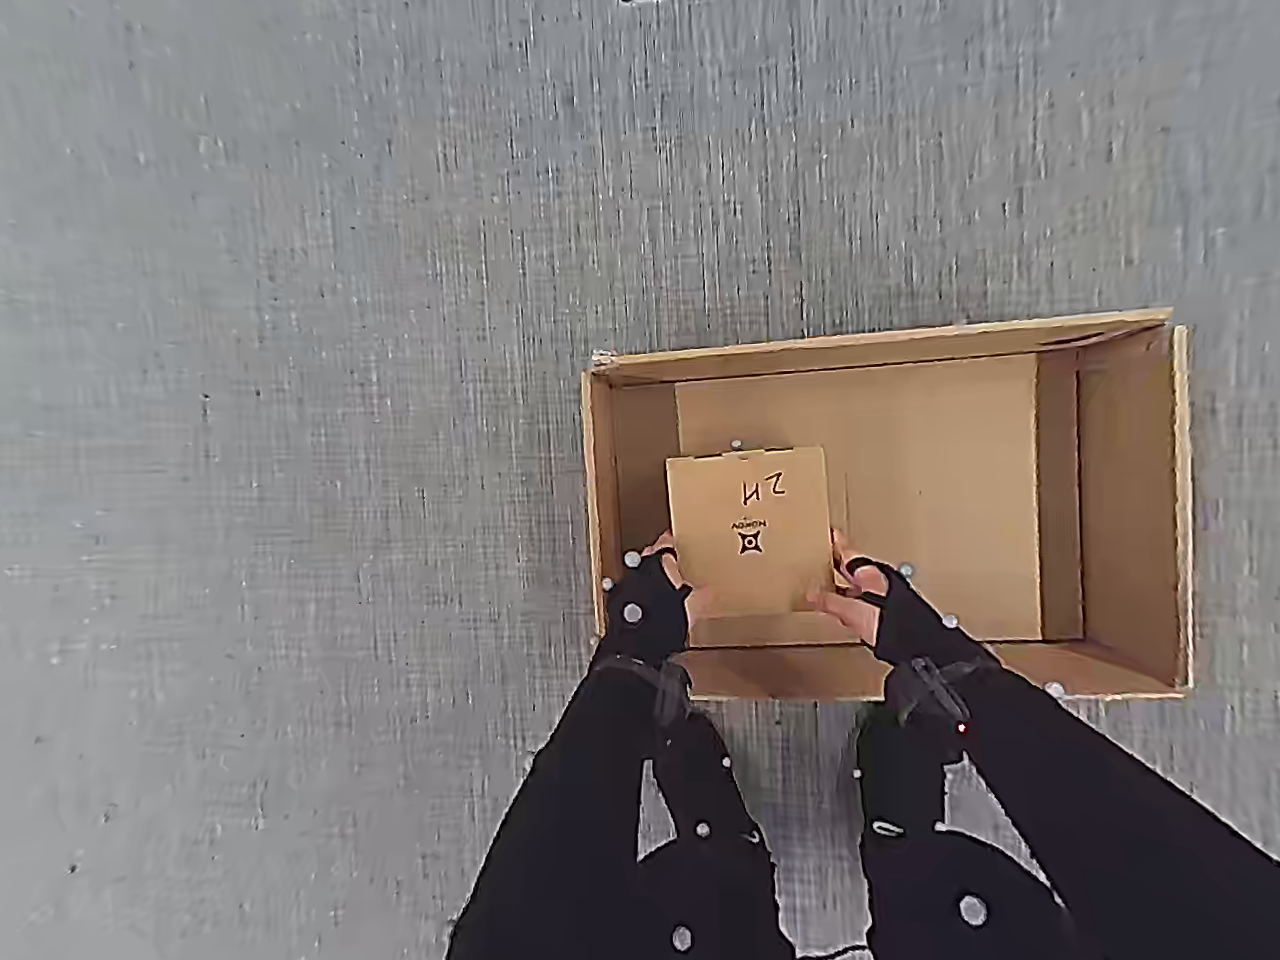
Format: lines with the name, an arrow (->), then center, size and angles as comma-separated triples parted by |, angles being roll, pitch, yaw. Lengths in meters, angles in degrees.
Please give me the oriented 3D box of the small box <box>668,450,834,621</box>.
small box -> 0.126, 0.056, 0.648 | 0.168, 0.176, 0.179 | -5, 92, 7
